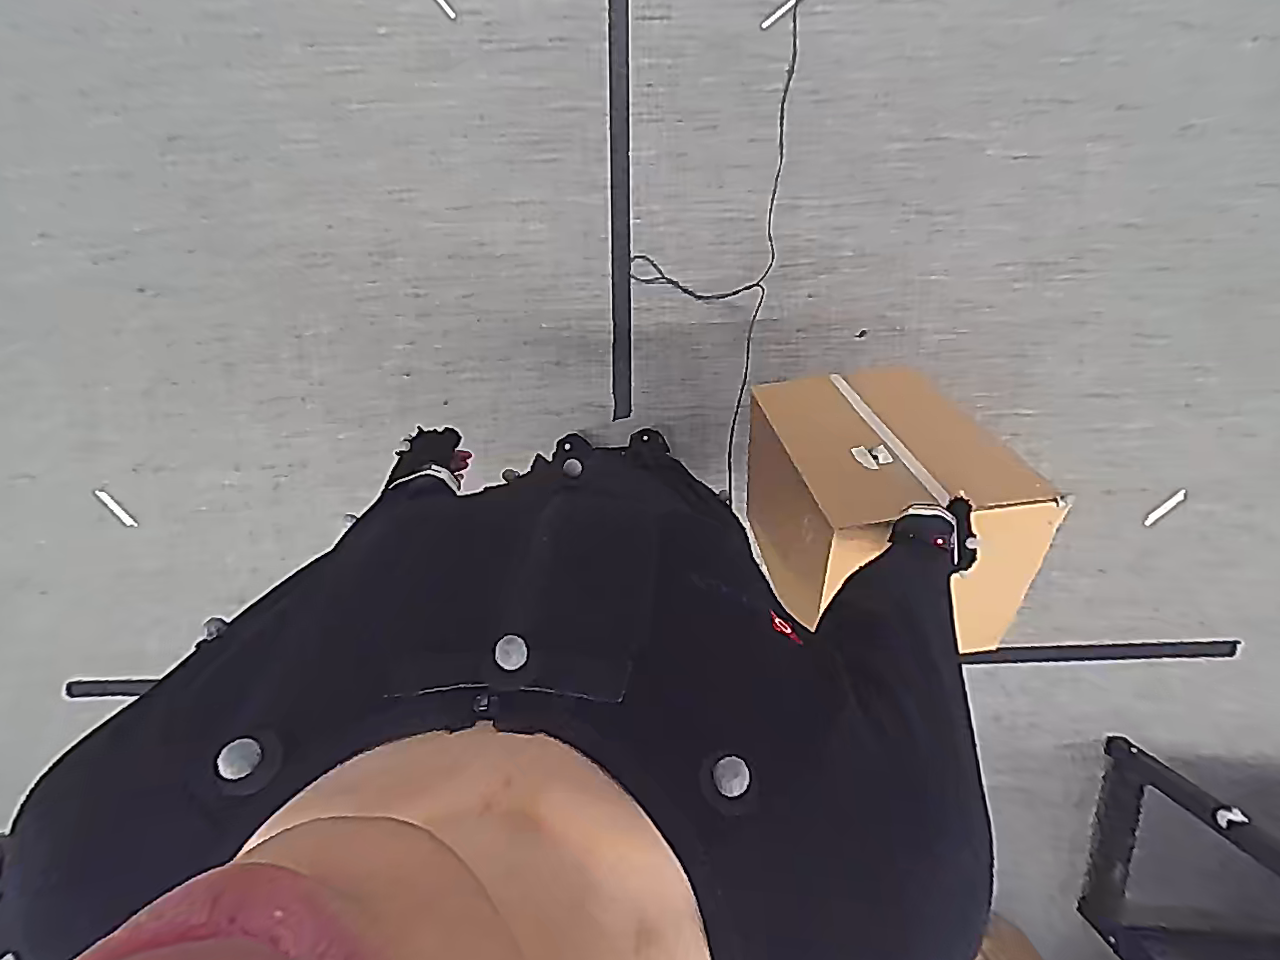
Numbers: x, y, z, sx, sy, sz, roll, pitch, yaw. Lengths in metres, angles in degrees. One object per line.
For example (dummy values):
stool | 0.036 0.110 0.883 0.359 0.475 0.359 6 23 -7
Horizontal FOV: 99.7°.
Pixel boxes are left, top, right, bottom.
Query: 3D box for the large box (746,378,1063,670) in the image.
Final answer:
large box | 0.397 0.059 0.953 0.320 0.408 0.320 -8 127 -2
